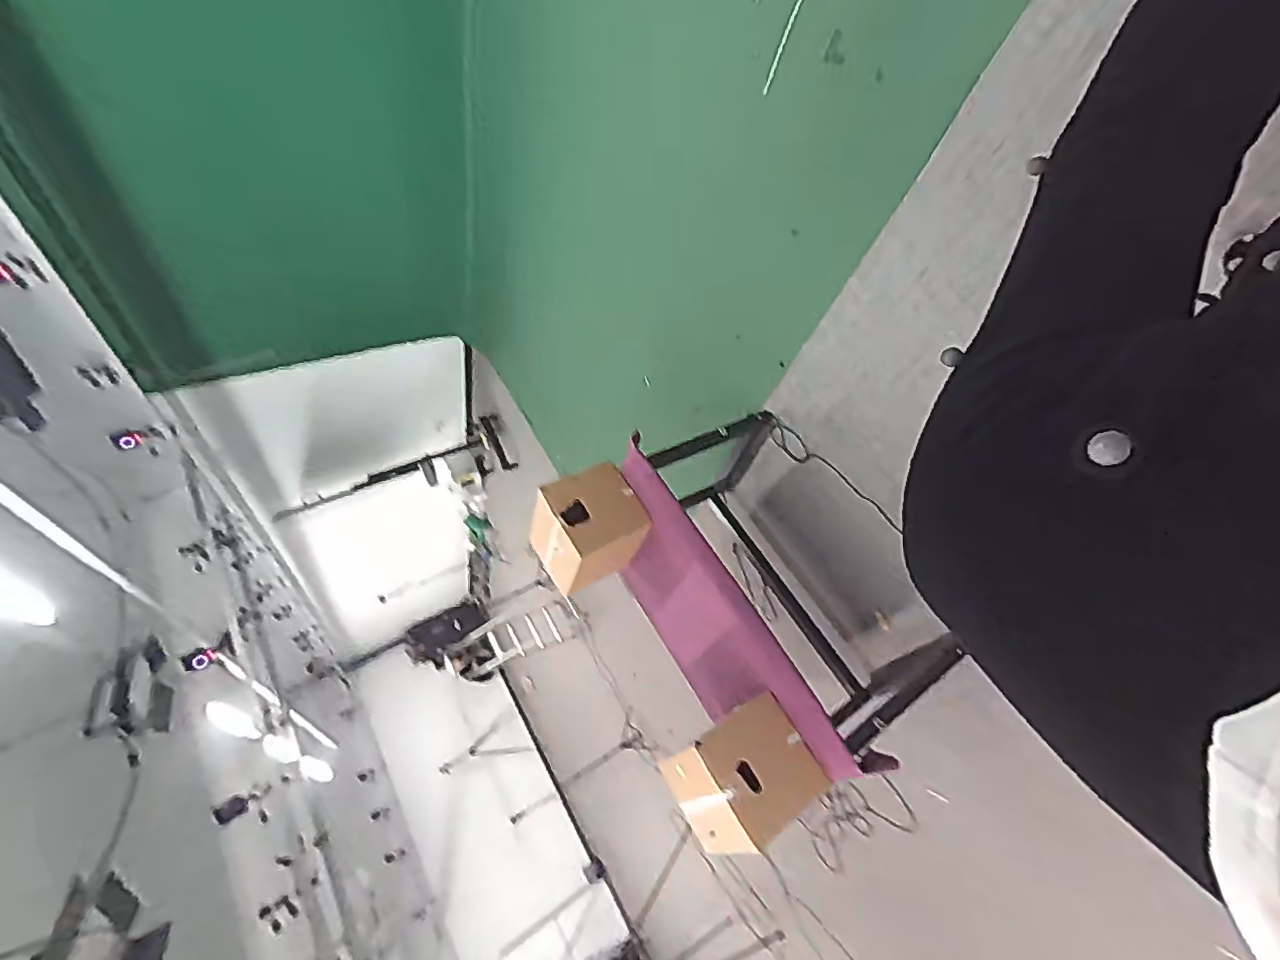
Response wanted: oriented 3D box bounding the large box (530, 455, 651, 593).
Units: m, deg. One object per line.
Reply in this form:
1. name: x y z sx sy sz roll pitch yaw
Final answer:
1. large box: -0.203 0.172 2.090 0.320 0.320 0.408 55 148 19
